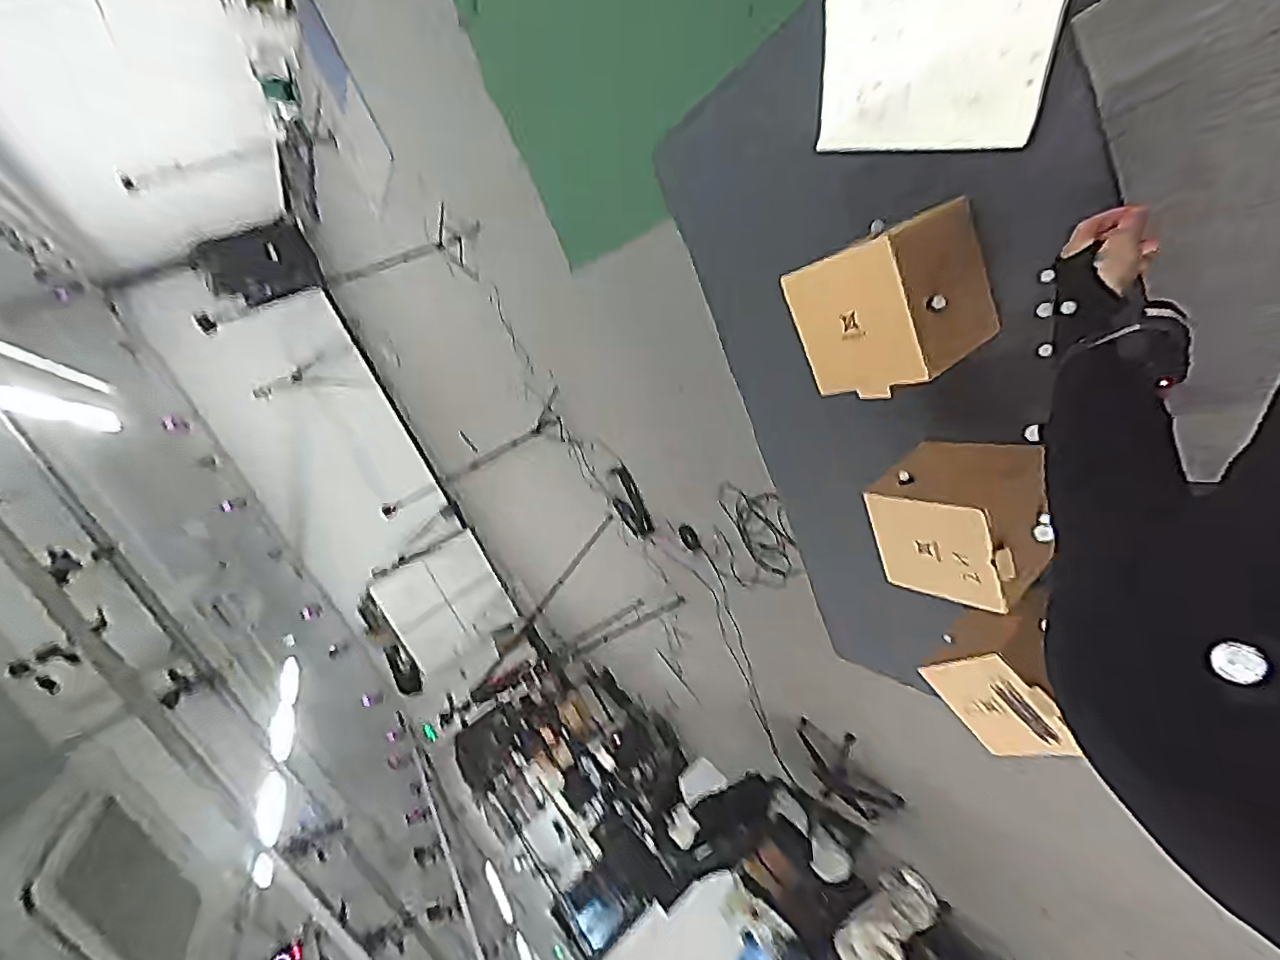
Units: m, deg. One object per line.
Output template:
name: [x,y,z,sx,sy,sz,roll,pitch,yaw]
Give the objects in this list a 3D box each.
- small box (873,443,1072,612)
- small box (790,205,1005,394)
small box: [0.478,0.056,0.781,0.179,0.176,0.168,8,127,58]
small box: [0.336,-0.234,0.706,0.168,0.176,0.179,2,122,61]
